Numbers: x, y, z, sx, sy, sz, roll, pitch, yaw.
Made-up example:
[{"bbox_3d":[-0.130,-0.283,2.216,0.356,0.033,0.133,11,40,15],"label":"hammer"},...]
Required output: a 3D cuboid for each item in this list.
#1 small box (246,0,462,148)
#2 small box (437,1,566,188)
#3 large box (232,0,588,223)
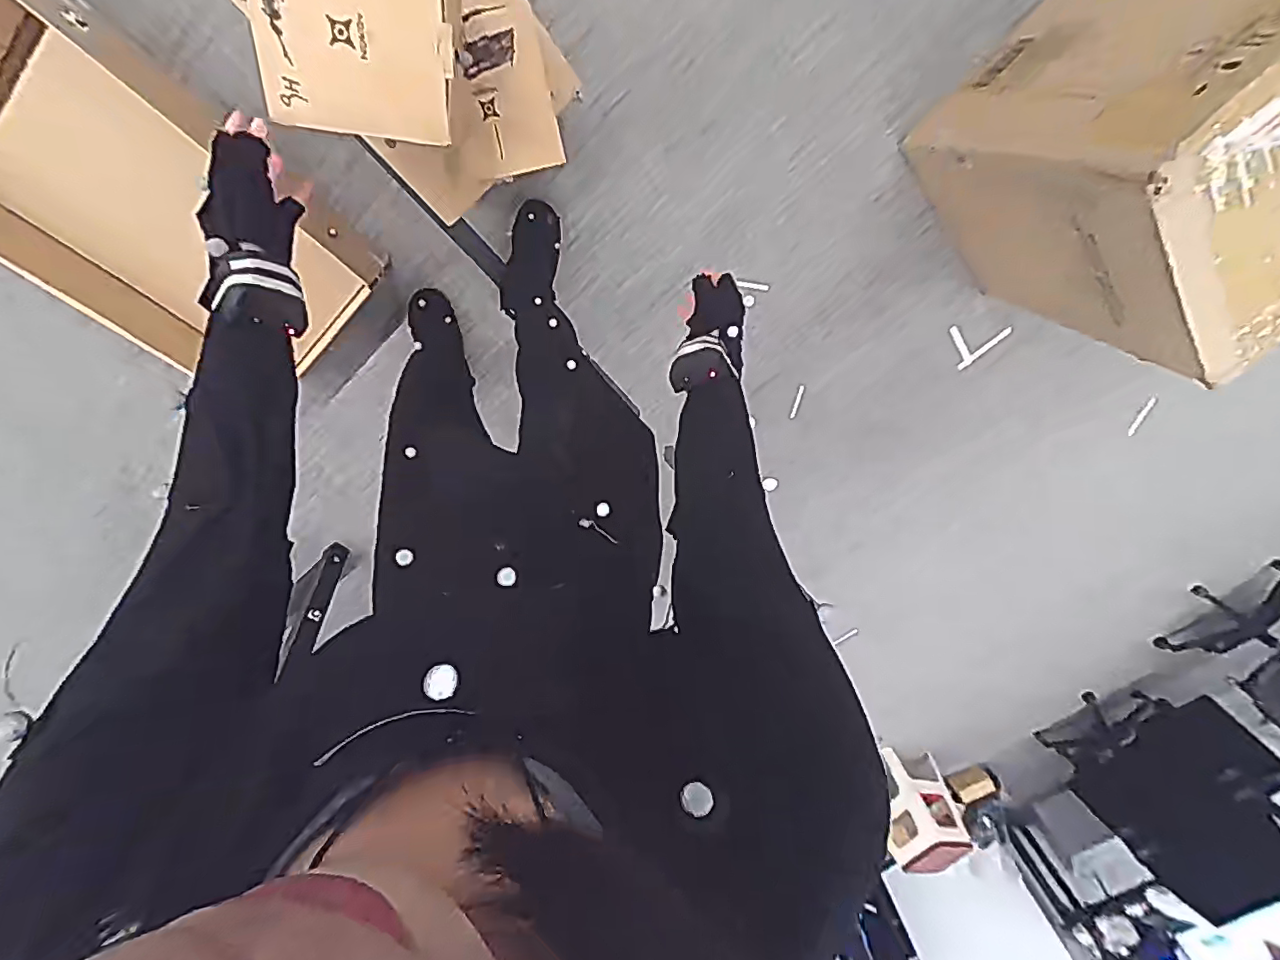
[{"bbox_3d":[-0.286,-0.468,0.575,0.179,0.176,0.168,1,124,-13],"label":"small box"},{"bbox_3d":[-0.208,-0.528,0.753,0.168,0.176,0.179,-14,127,-3],"label":"small box"},{"bbox_3d":[-0.346,-0.720,0.891,0.320,0.320,0.408,-37,125,15],"label":"large box"}]
